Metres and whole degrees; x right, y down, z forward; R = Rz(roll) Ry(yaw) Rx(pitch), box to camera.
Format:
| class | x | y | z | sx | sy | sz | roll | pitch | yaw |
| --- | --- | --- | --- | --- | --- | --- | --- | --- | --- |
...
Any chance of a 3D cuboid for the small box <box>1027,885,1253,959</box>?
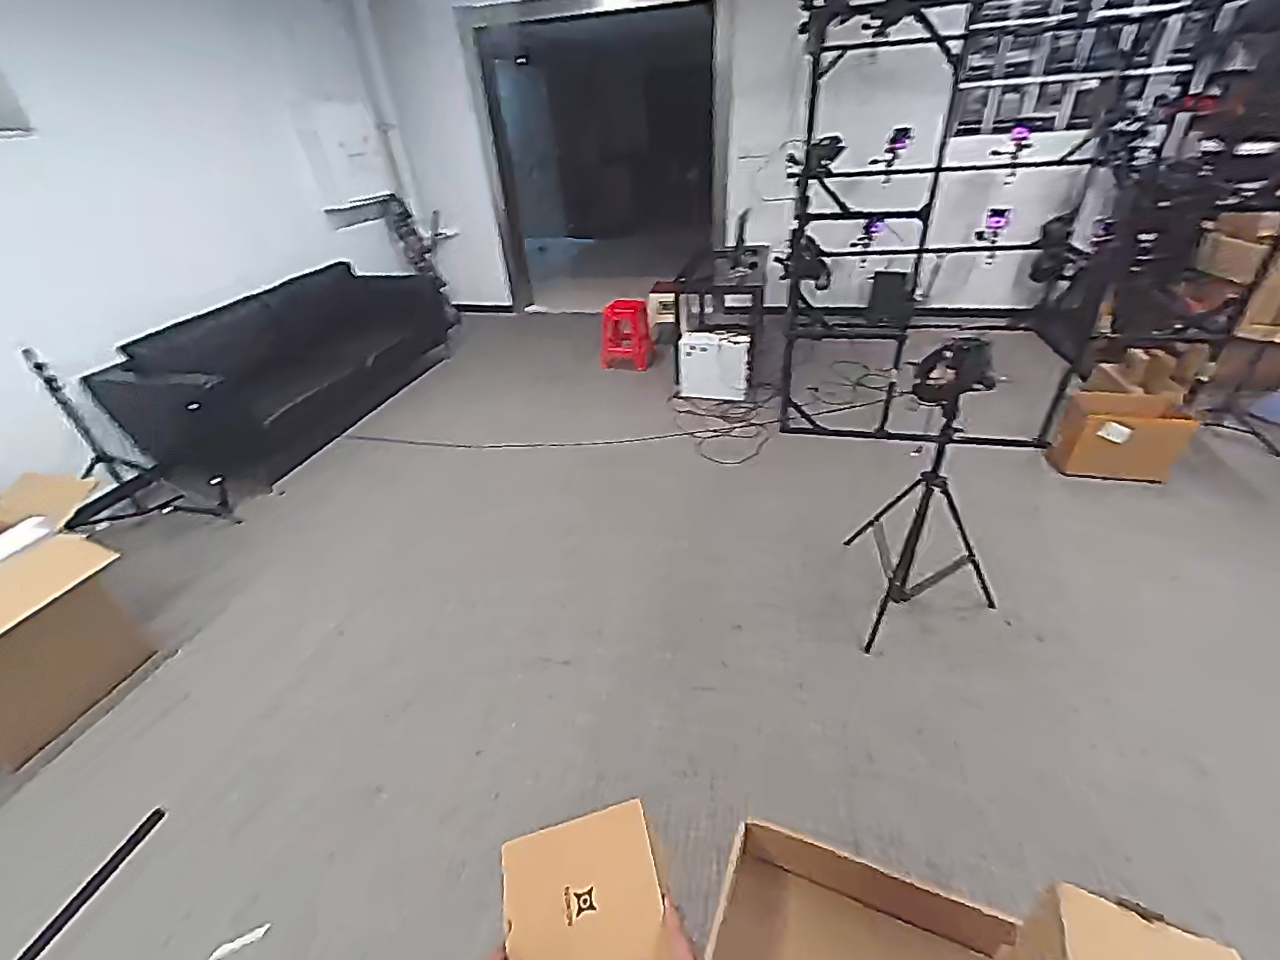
| class | x | y | z | sx | sy | sz | roll | pitch | yaw |
| --- | --- | --- | --- | --- | --- | --- | --- | --- | --- |
| small box | 0.531 | 0.591 | 0.569 | 0.168 | 0.176 | 0.179 | 11 | 35 | 25 |

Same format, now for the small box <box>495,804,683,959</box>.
| class | x | y | z | sx | sy | sz | roll | pitch | yaw |
| --- | --- | --- | --- | --- | --- | --- | --- | --- | --- |
| small box | -0.053 | 0.513 | 0.622 | 0.179 | 0.176 | 0.168 | -17 | 39 | -4 |
